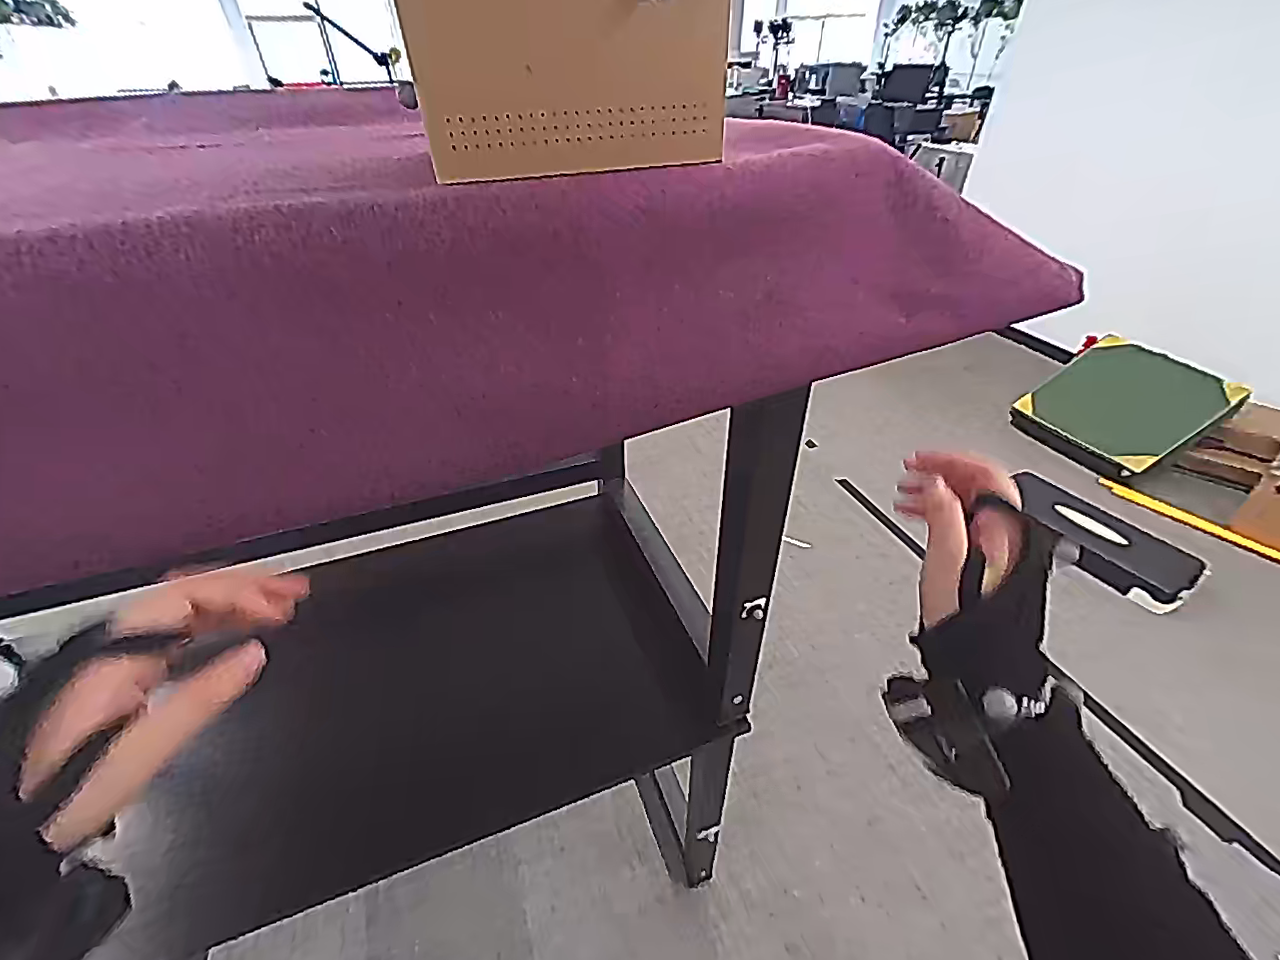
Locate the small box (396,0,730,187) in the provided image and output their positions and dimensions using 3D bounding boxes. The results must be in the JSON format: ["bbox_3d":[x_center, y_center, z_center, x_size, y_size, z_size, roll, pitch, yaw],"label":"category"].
[{"bbox_3d":[-0.051,-0.291,0.330,0.179,0.176,0.168,-11,38,-10],"label":"small box"}]
